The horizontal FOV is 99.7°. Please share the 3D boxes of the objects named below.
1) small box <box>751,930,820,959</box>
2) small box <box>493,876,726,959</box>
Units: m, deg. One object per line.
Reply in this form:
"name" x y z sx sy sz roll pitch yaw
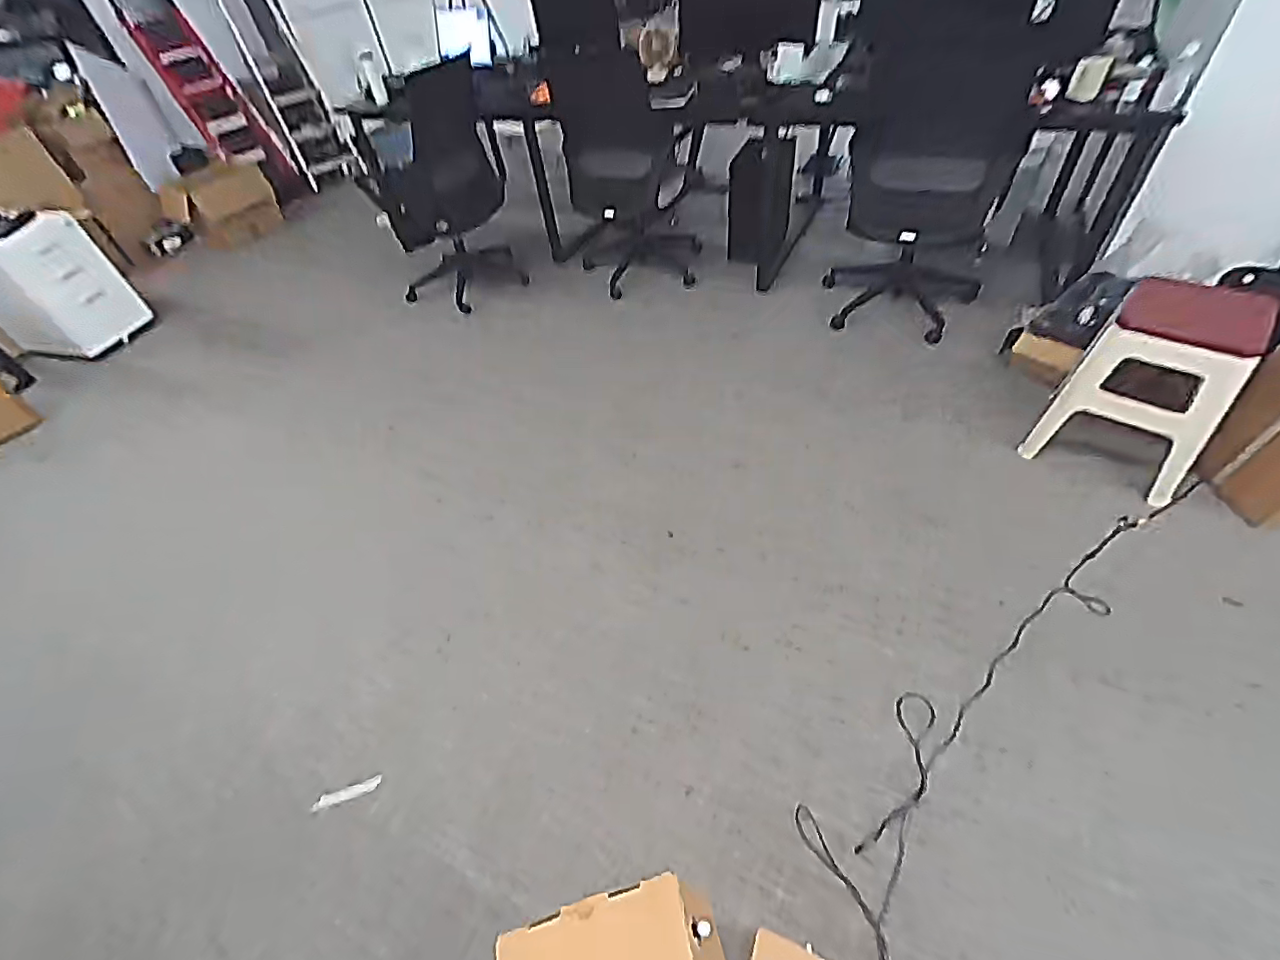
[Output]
"small box" 0.244 0.860 0.853 0.168 0.176 0.179 13 51 21
"small box" -0.004 0.464 0.438 0.168 0.176 0.179 -21 41 0
